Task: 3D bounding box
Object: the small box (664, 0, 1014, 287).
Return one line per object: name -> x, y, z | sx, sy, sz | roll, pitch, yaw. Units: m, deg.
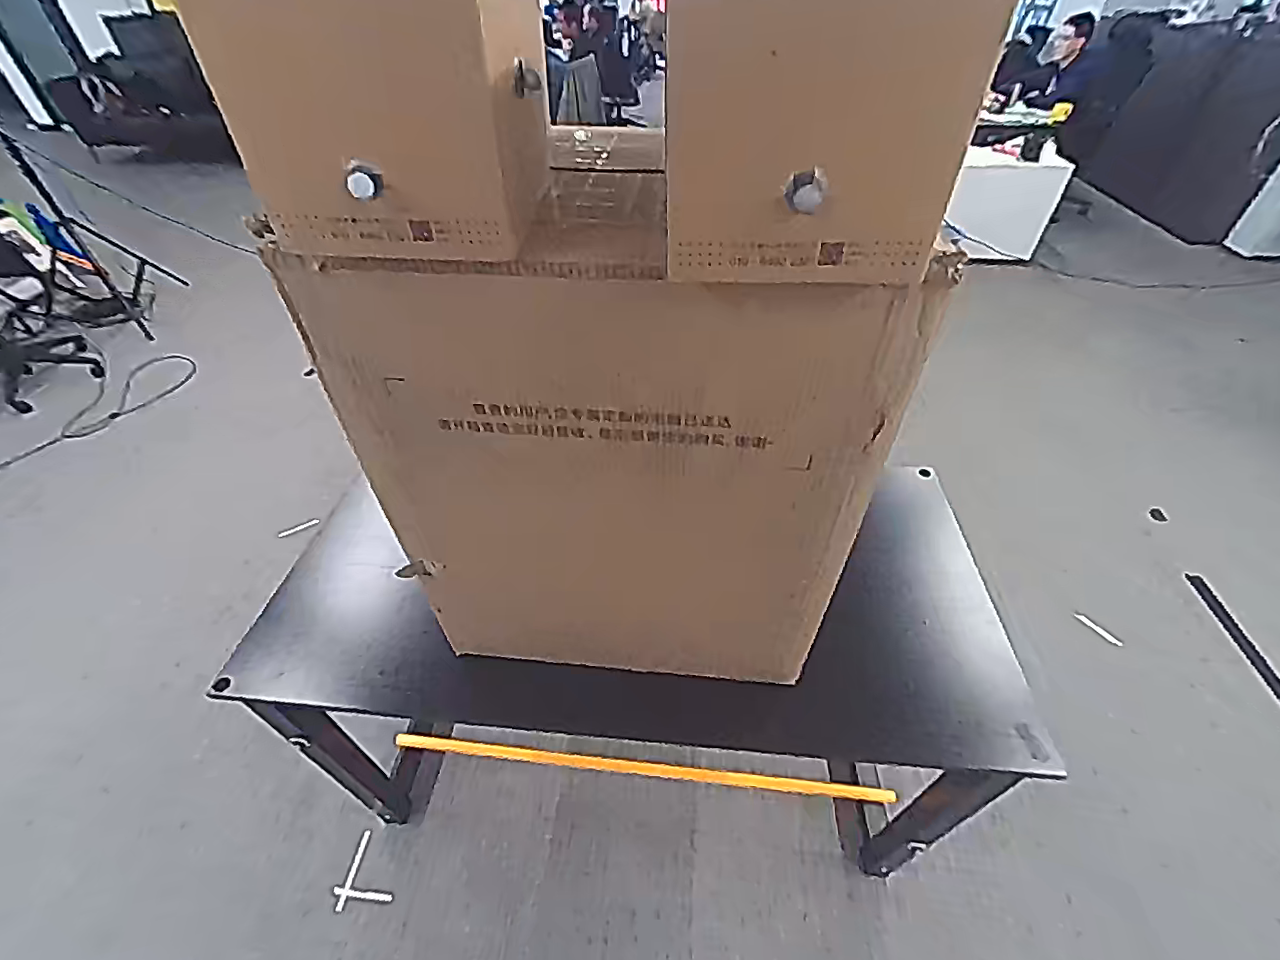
small box -> 0.103, -0.247, 0.358 | 0.168, 0.176, 0.179 | 2, 46, 5
